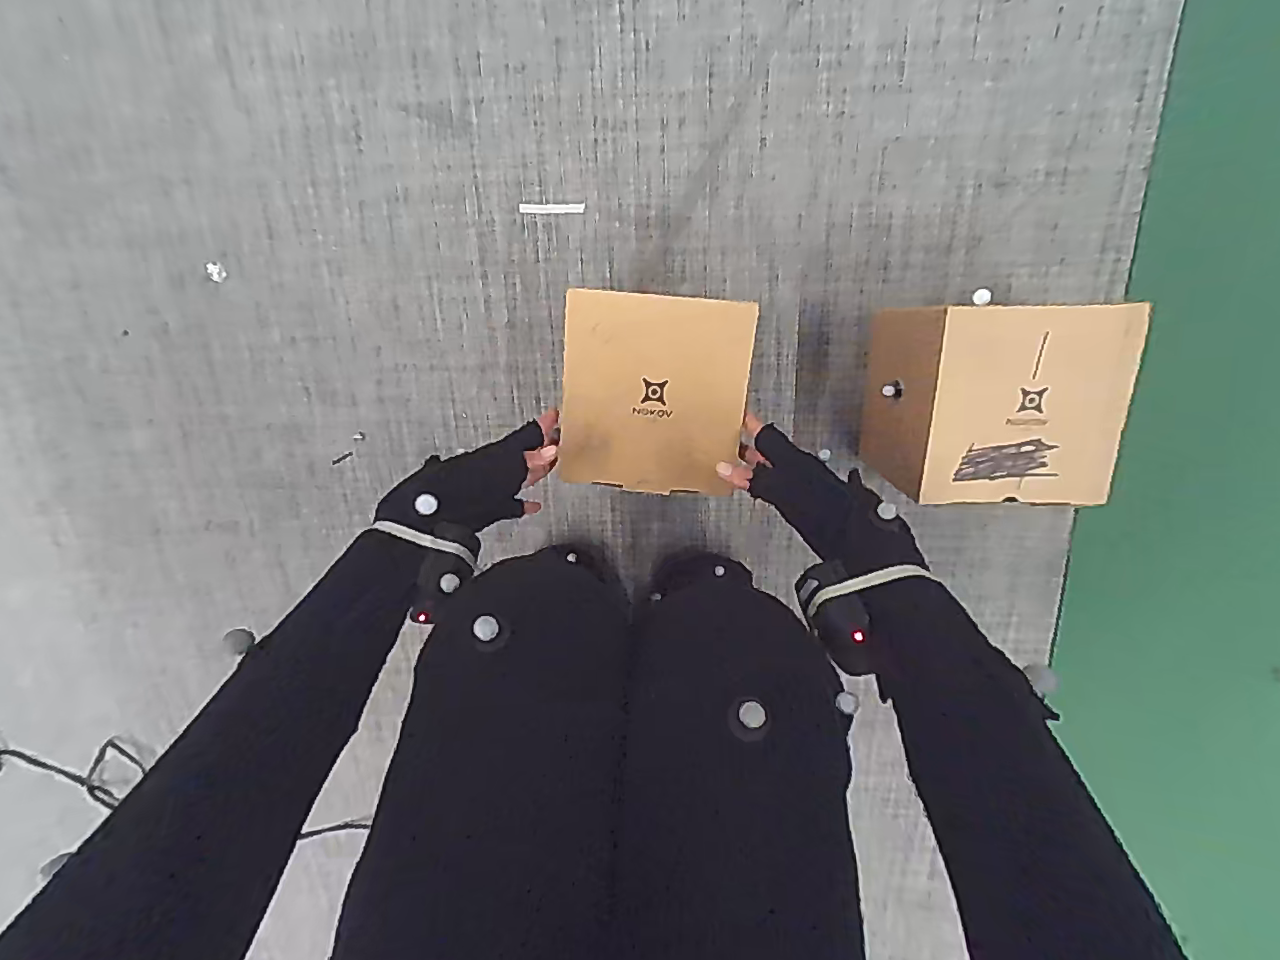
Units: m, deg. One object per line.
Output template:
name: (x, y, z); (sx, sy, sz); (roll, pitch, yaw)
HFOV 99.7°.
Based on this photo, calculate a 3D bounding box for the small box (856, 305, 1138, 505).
small box: (0.334, -0.084, 0.550); (0.168, 0.176, 0.179); (0, 106, 2)

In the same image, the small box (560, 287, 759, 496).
small box: (0.015, -0.098, 0.559); (0.168, 0.176, 0.179); (5, 108, 1)
